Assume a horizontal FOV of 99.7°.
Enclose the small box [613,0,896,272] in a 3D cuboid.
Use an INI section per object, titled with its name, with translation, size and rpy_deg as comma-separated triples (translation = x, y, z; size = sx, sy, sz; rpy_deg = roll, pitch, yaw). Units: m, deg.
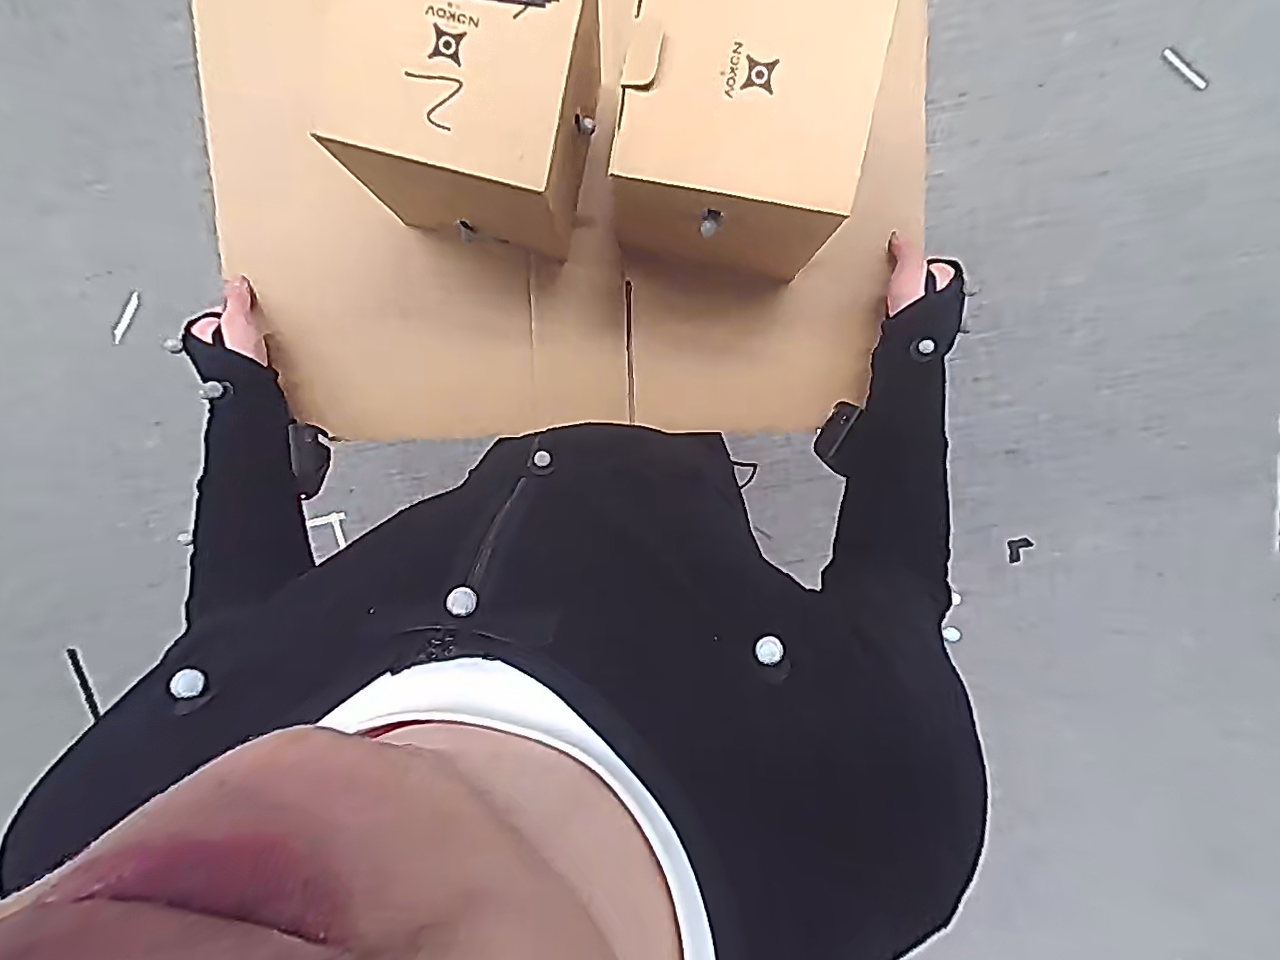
[small box]
translation = 0.084, -0.291, 0.465
size = 0.179, 0.176, 0.168
rpy_deg = 11, 97, 2
